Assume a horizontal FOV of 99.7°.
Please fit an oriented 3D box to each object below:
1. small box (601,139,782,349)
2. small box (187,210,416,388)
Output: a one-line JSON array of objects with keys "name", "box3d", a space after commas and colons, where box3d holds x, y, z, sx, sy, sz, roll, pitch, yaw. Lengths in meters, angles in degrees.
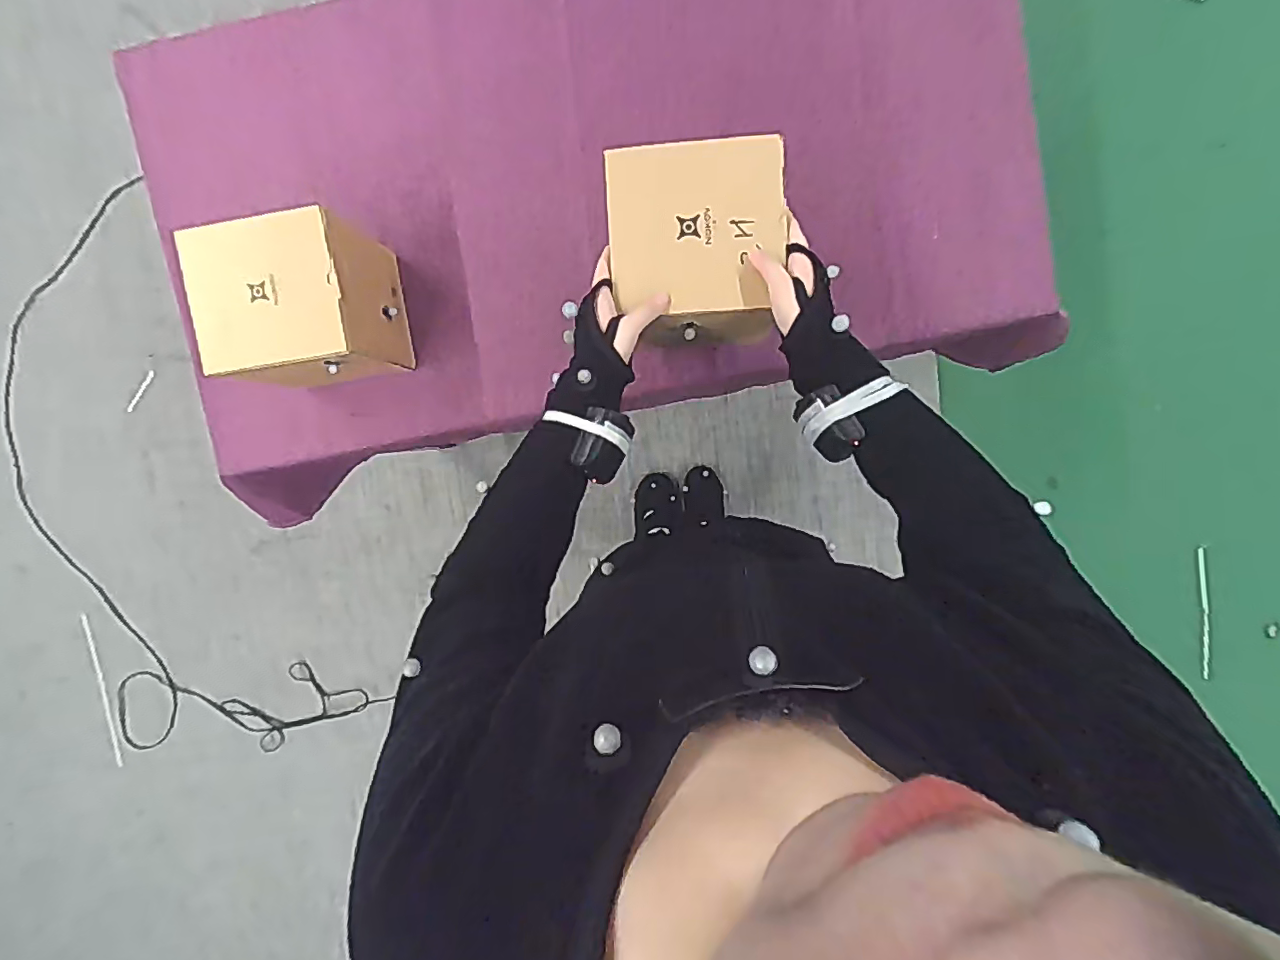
[{"name": "small box", "box3d": [0.057, -0.249, 0.612, 0.179, 0.176, 0.168, -2, 92, 4]}, {"name": "small box", "box3d": [-0.422, -0.219, 0.701, 0.179, 0.176, 0.168, -9, 94, 3]}]
